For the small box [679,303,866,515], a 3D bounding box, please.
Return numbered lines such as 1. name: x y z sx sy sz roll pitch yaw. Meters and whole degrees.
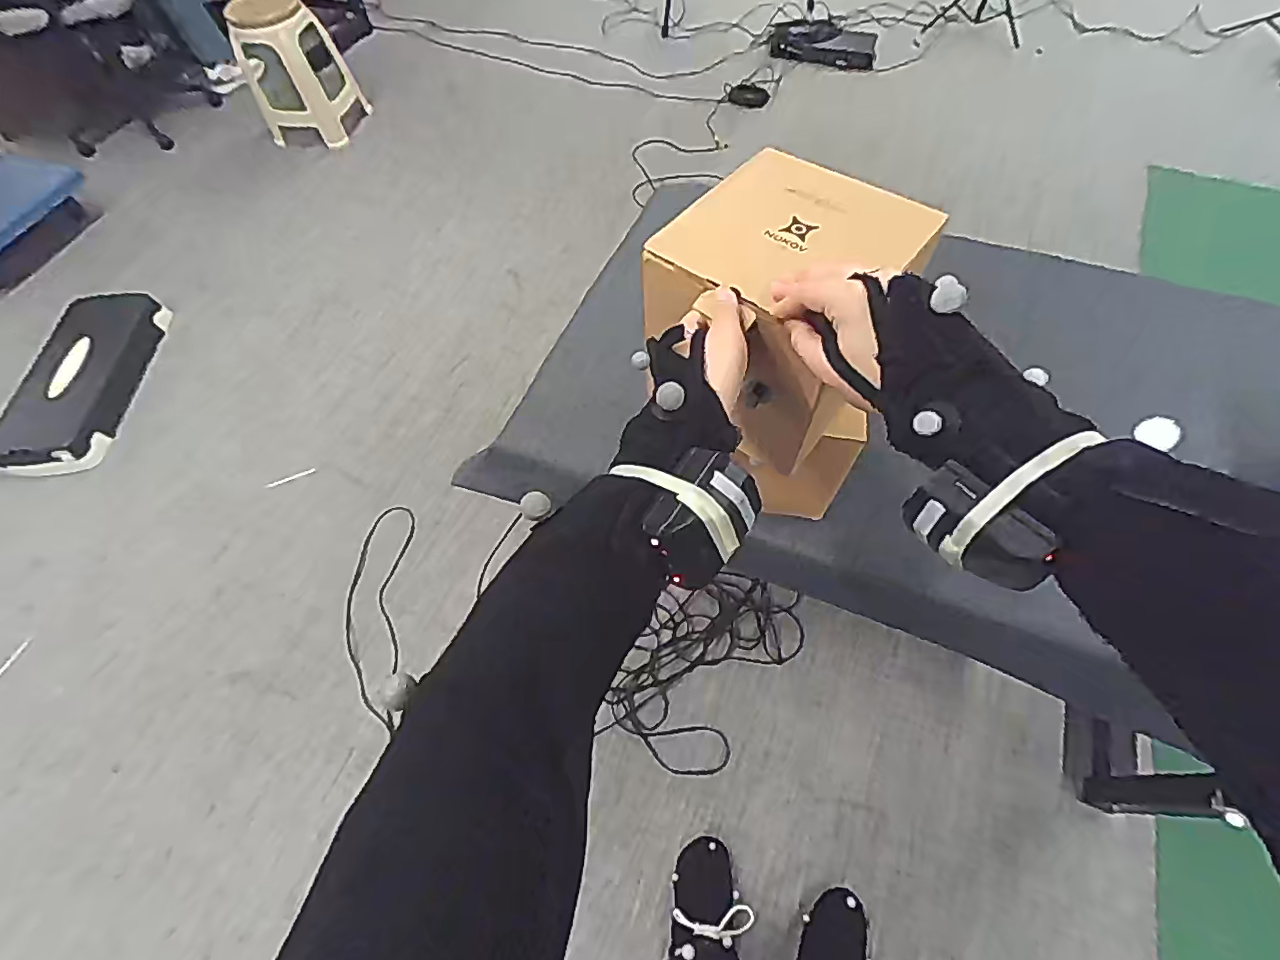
1. small box: 0.144 -0.074 0.621 0.179 0.176 0.168 8 60 8
